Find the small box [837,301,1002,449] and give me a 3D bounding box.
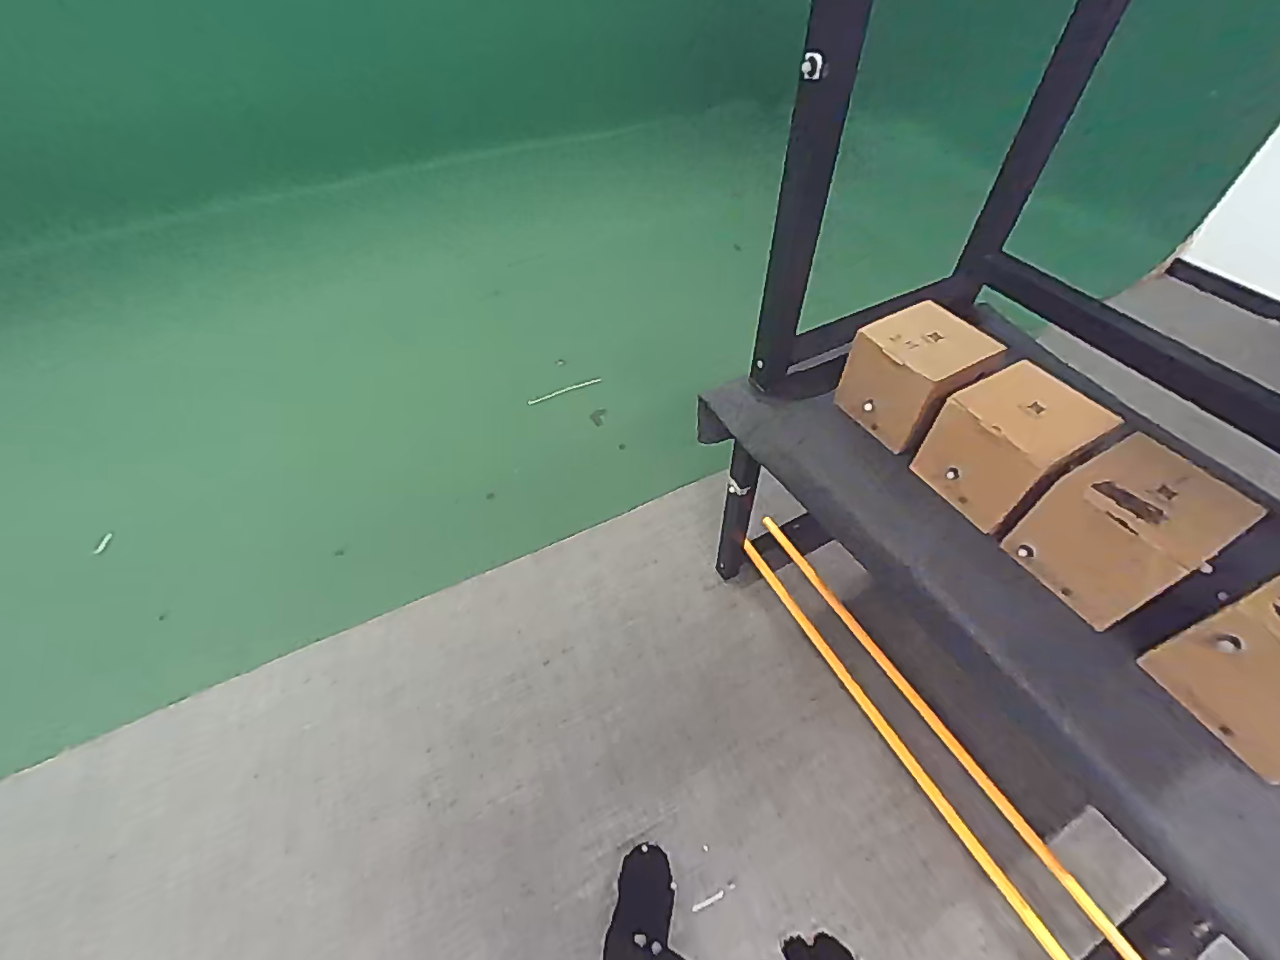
[{"bbox_3d":[0.489,-0.188,0.977,0.179,0.176,0.168,-25,54,-17],"label":"small box"}]
